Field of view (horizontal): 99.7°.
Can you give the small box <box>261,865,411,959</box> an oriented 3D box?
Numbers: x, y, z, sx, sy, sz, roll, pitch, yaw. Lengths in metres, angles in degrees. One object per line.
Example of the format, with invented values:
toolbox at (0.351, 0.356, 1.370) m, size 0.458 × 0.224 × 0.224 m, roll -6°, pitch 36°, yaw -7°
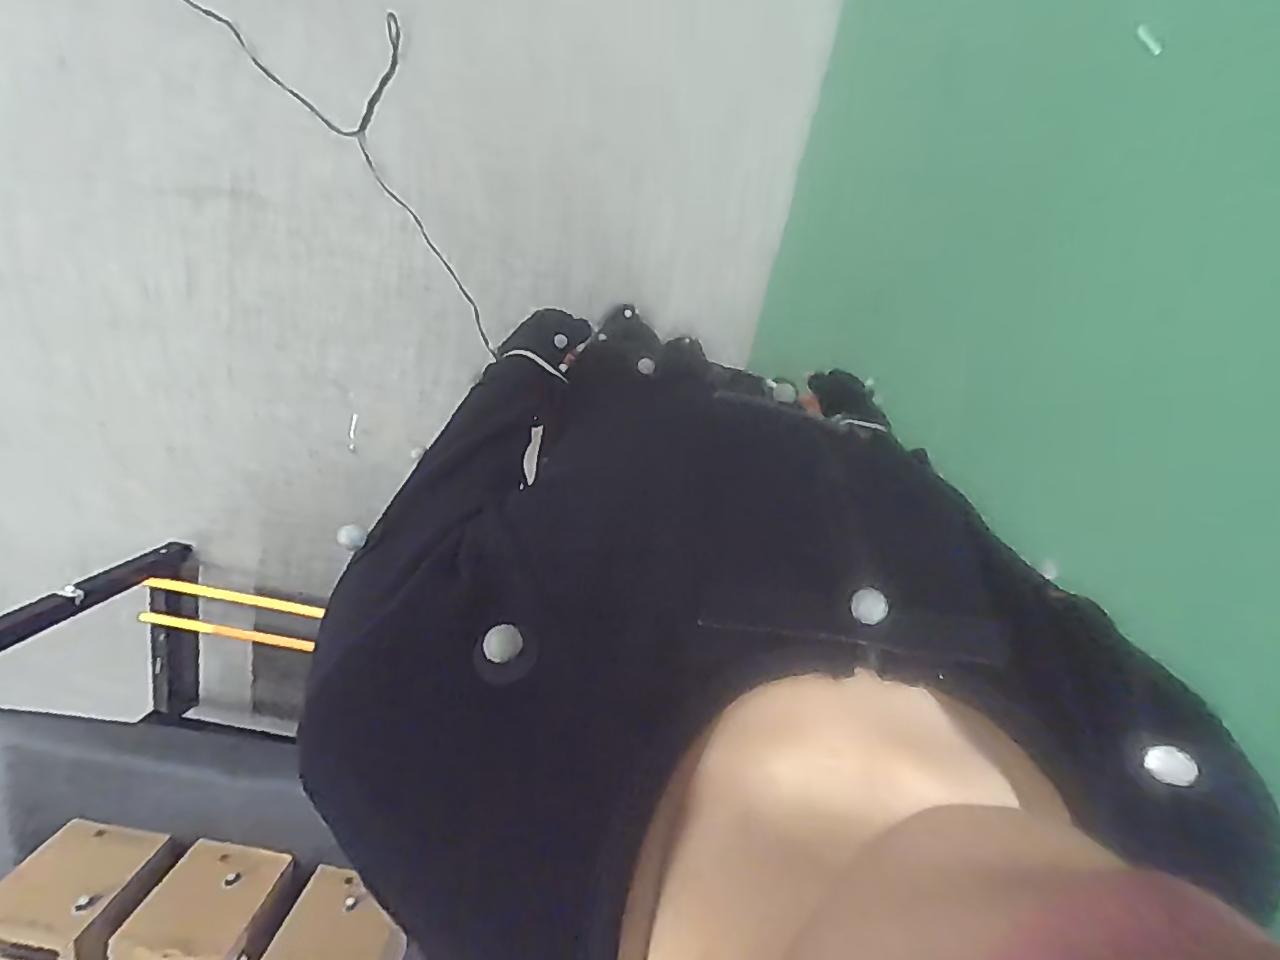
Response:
small box at (-0.490, 0.779, 0.876) m, size 0.168 × 0.176 × 0.179 m, roll 11°, pitch 105°, yaw -2°
